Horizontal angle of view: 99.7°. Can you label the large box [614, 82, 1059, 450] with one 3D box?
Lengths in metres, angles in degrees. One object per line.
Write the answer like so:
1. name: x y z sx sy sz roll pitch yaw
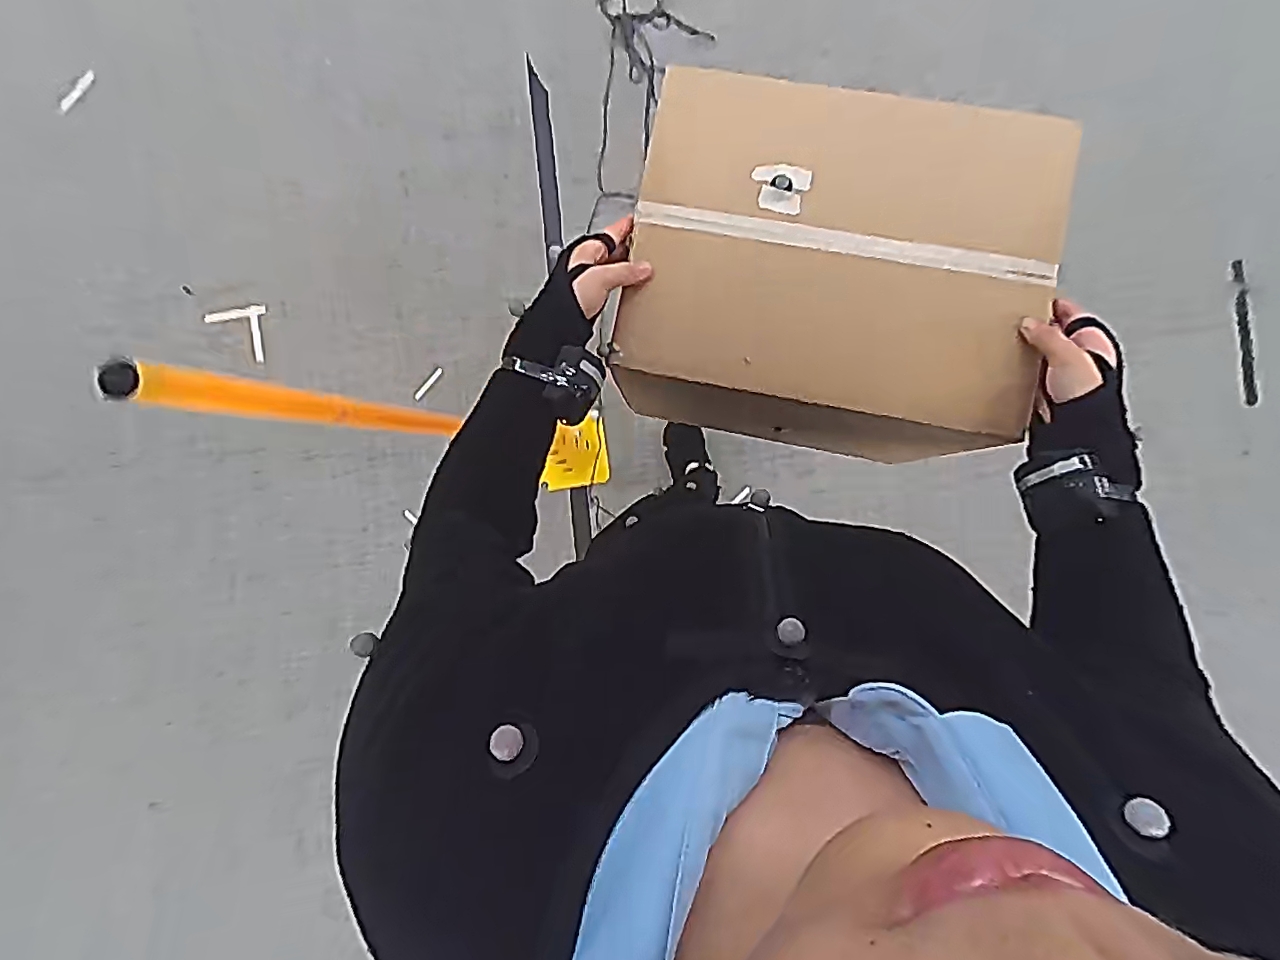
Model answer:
1. large box: 0.206 -0.228 0.691 0.408 0.320 0.320 10 87 5
